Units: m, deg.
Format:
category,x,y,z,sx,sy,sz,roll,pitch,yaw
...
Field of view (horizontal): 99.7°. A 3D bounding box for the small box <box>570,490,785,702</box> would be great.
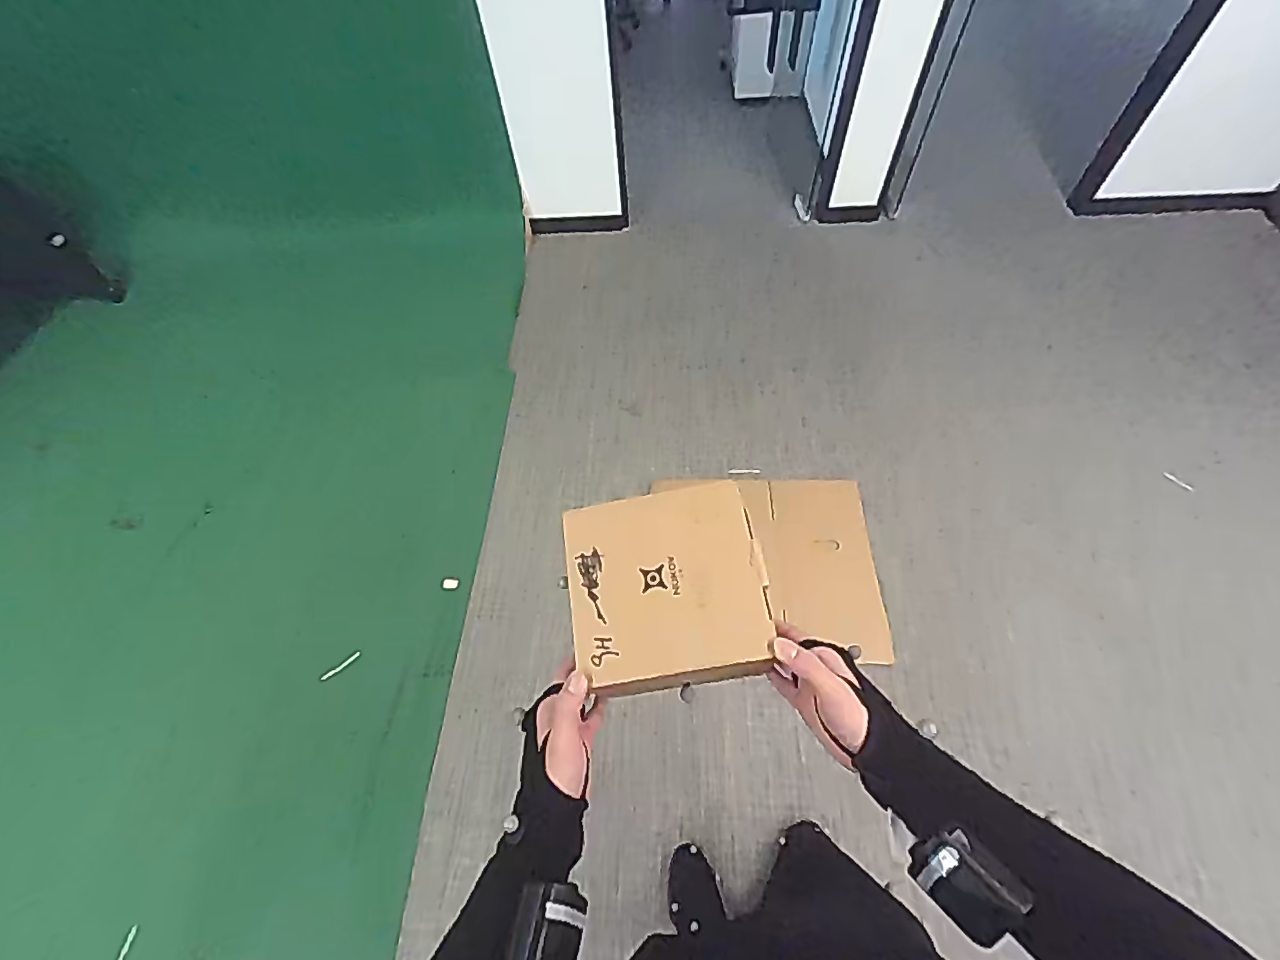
category,x,y,z,sx,sy,sz,roll,pitch,yaw
small box,0.034,0.128,0.558,0.179,0.176,0.168,-10,63,2
